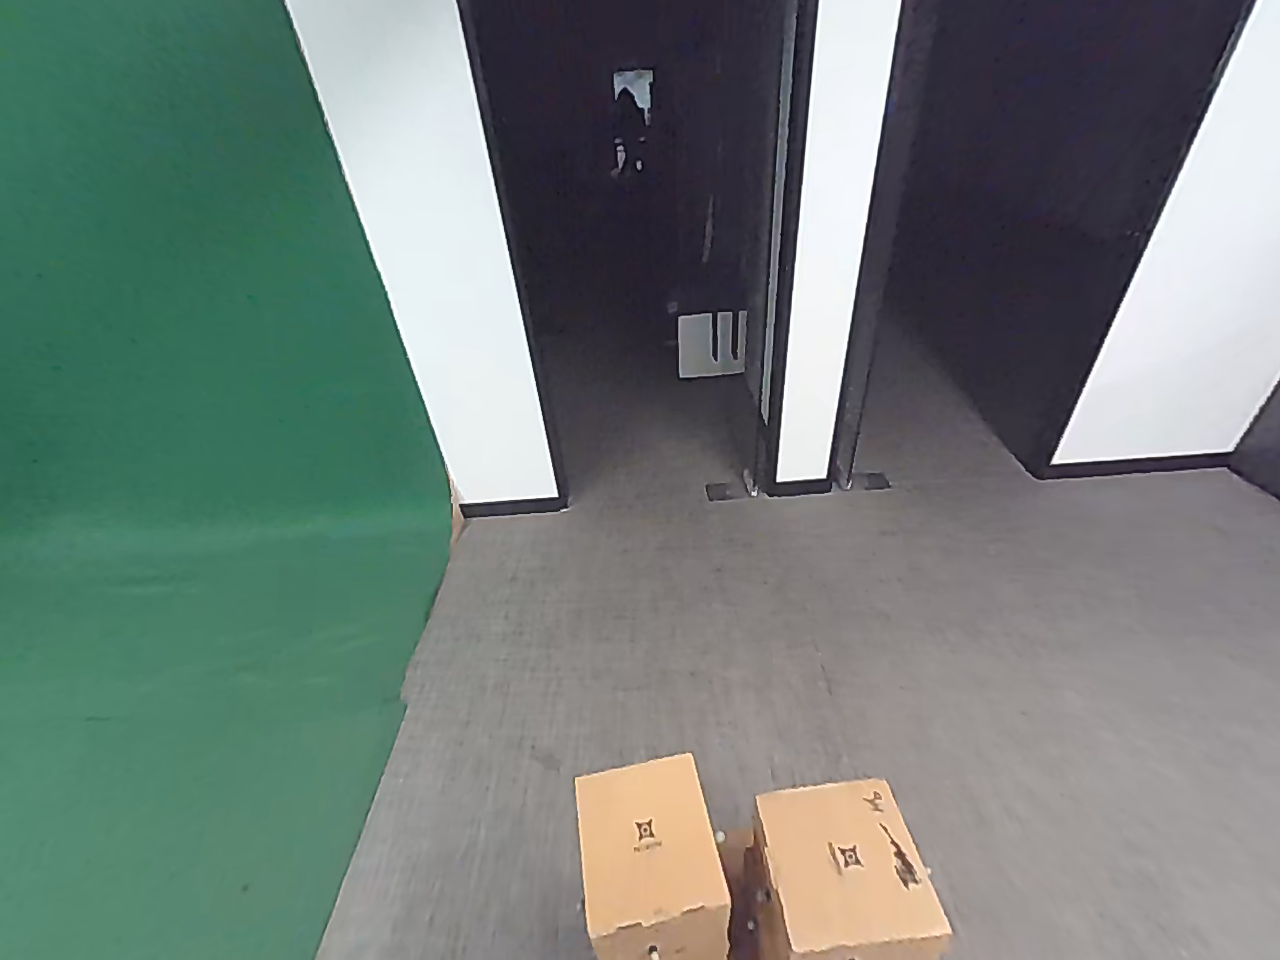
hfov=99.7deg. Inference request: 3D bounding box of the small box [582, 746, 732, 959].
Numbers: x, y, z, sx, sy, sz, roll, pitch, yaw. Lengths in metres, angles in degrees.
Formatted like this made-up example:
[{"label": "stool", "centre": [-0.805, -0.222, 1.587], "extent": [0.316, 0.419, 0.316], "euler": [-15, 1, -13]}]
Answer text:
[{"label": "small box", "centre": [0.017, 0.499, 0.731], "extent": [0.168, 0.176, 0.179], "euler": [-9, 38, -6]}]
